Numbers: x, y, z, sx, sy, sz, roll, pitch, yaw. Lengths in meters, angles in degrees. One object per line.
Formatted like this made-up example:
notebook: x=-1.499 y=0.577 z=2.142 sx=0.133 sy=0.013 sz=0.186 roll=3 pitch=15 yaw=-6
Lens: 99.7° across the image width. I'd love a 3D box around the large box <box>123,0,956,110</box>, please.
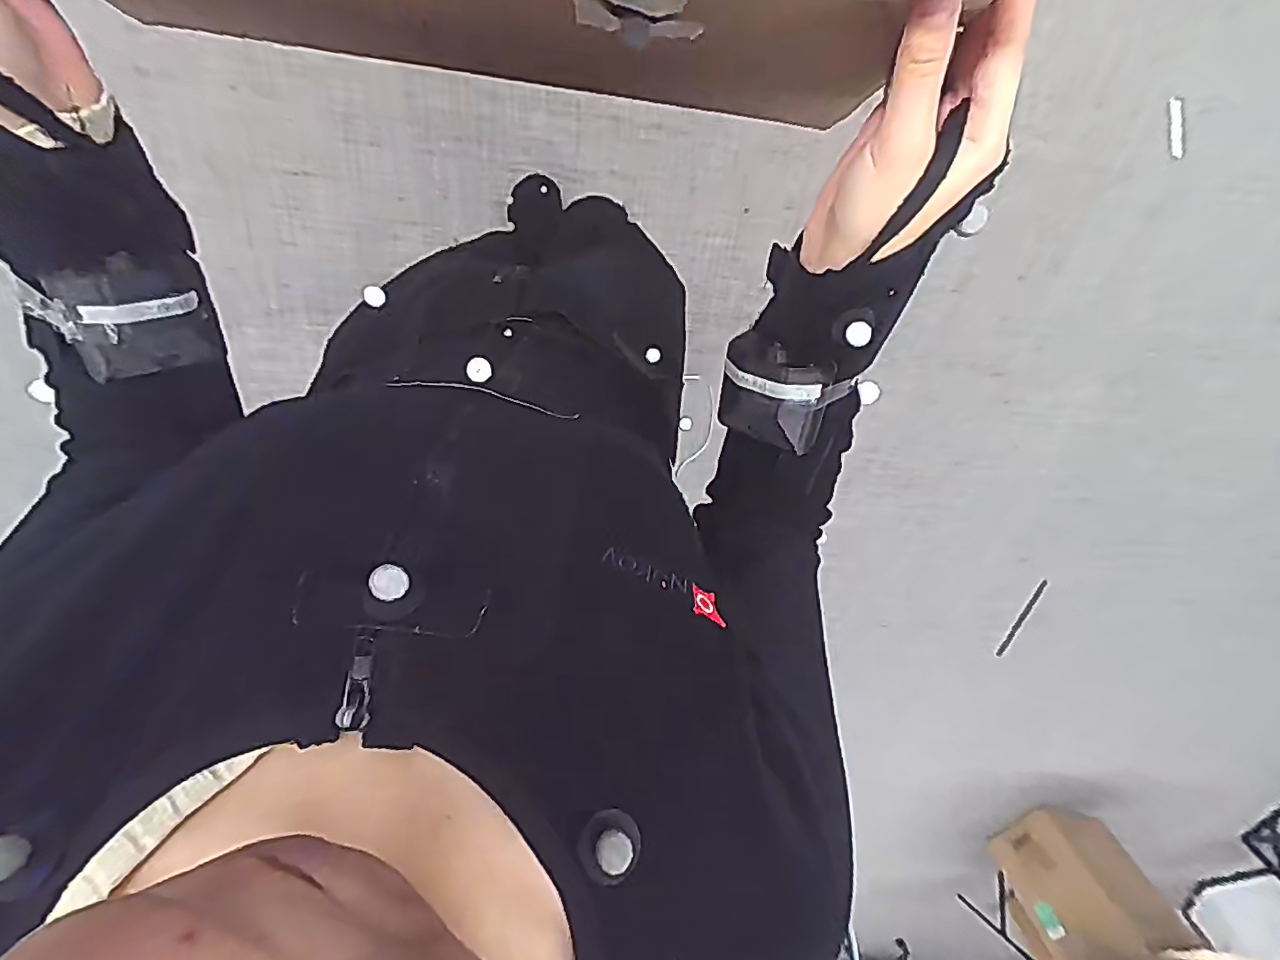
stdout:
large box: x=-0.051 y=-0.352 z=0.143 sx=0.408 sy=0.320 sz=0.320 roll=3 pitch=107 yaw=-7
